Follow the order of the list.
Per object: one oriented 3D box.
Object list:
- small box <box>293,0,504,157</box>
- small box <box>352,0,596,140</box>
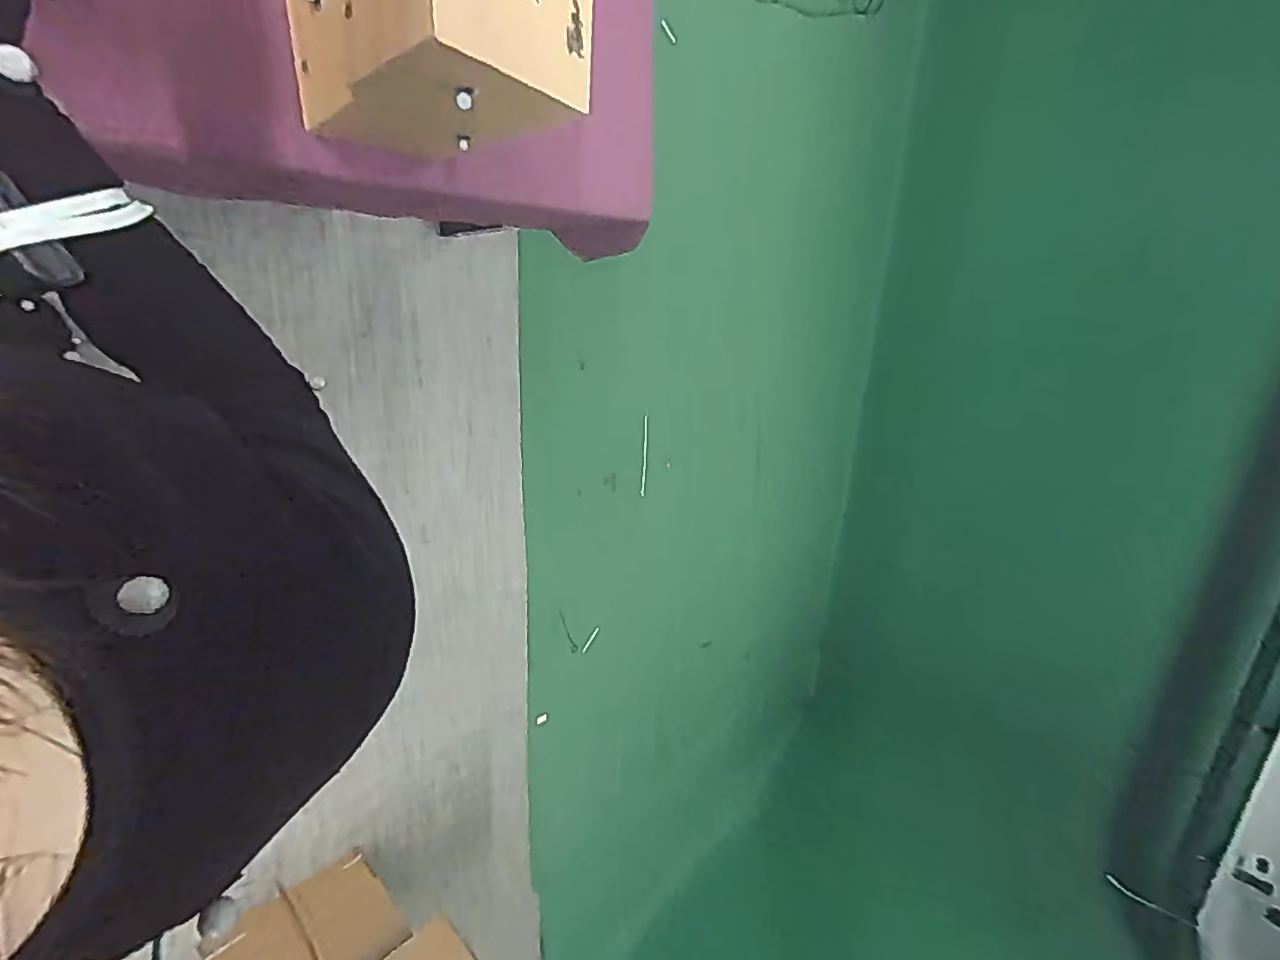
[{"bbox_3d":[-0.279,-0.494,0.629,0.179,0.176,0.168,-18,116,-45],"label":"small box"},{"bbox_3d":[-0.162,-0.454,0.520,0.179,0.176,0.168,-11,111,-47],"label":"small box"}]
